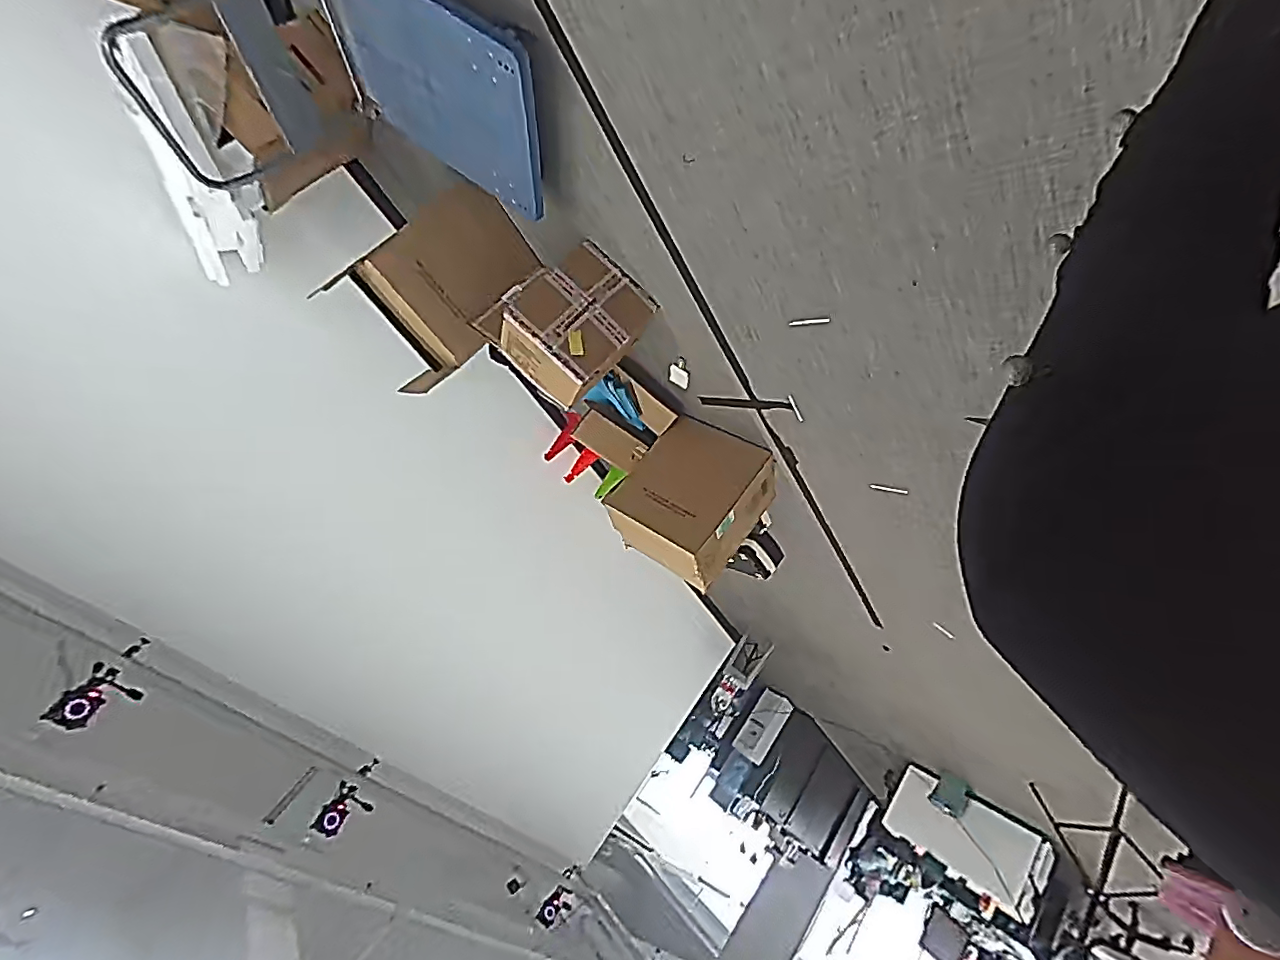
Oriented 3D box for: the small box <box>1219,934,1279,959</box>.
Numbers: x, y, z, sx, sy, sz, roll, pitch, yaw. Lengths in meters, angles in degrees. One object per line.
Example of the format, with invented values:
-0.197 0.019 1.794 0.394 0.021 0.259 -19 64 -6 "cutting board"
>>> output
1.570 1.285 1.351 0.179 0.176 0.168 14 147 52 "small box"
